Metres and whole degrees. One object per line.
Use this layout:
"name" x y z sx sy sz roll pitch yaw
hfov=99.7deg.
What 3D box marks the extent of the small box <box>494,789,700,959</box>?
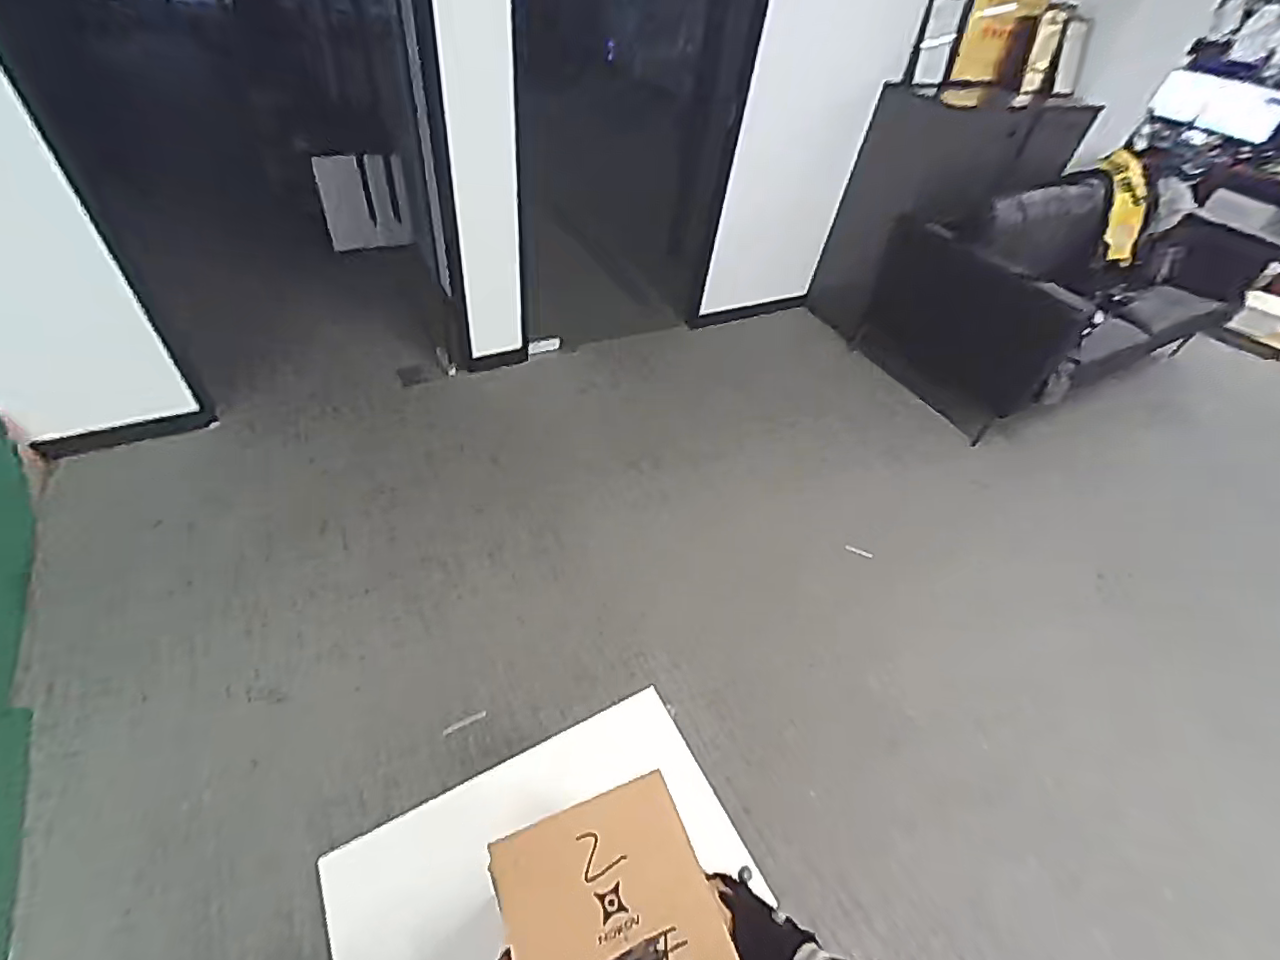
"small box" -0.059 0.502 0.620 0.168 0.176 0.179 -17 51 -25
